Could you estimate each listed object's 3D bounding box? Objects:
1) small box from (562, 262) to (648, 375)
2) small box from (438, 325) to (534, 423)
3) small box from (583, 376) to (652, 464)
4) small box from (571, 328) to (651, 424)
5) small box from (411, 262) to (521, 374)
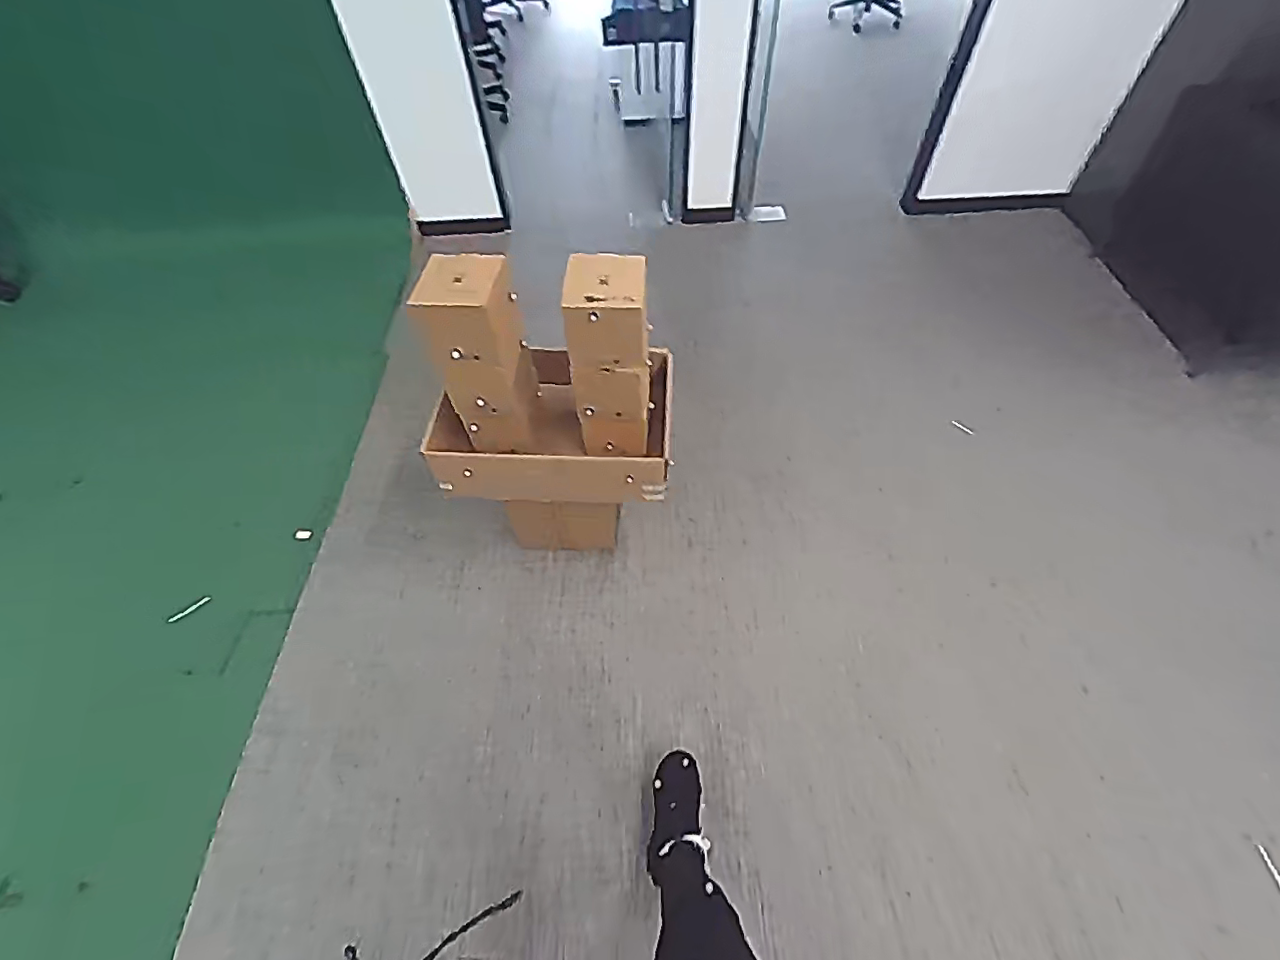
[{"bbox_3d":[-0.068,-0.353,1.181,0.168,0.176,0.179,1,55,3],"label":"small box"},{"bbox_3d":[-0.367,-0.265,1.333,0.168,0.176,0.179,3,55,6],"label":"small box"},{"bbox_3d":[-0.054,-0.164,1.450,0.168,0.176,0.179,2,56,4],"label":"small box"},{"bbox_3d":[-0.063,-0.254,1.312,0.168,0.176,0.179,3,55,4],"label":"small box"},{"bbox_3d":[-0.372,-0.359,1.200,0.168,0.176,0.179,2,55,6],"label":"small box"}]
